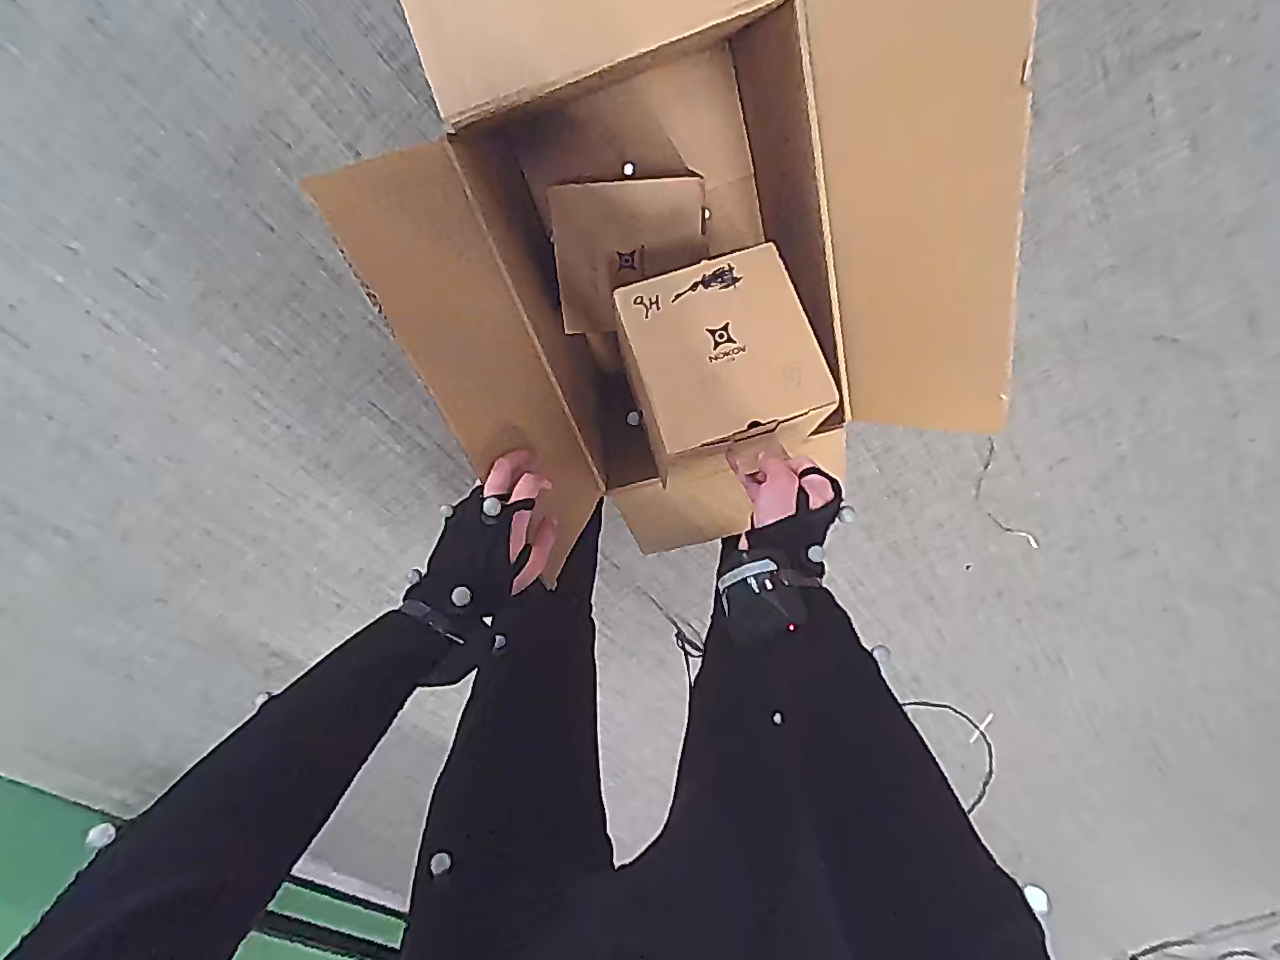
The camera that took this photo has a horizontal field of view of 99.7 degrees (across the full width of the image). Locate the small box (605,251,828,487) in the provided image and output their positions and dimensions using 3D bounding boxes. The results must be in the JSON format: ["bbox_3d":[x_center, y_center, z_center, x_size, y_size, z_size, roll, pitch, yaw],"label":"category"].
[{"bbox_3d":[0.076,-0.102,0.590,0.168,0.179,0.176,-22,166,-1],"label":"small box"}]
